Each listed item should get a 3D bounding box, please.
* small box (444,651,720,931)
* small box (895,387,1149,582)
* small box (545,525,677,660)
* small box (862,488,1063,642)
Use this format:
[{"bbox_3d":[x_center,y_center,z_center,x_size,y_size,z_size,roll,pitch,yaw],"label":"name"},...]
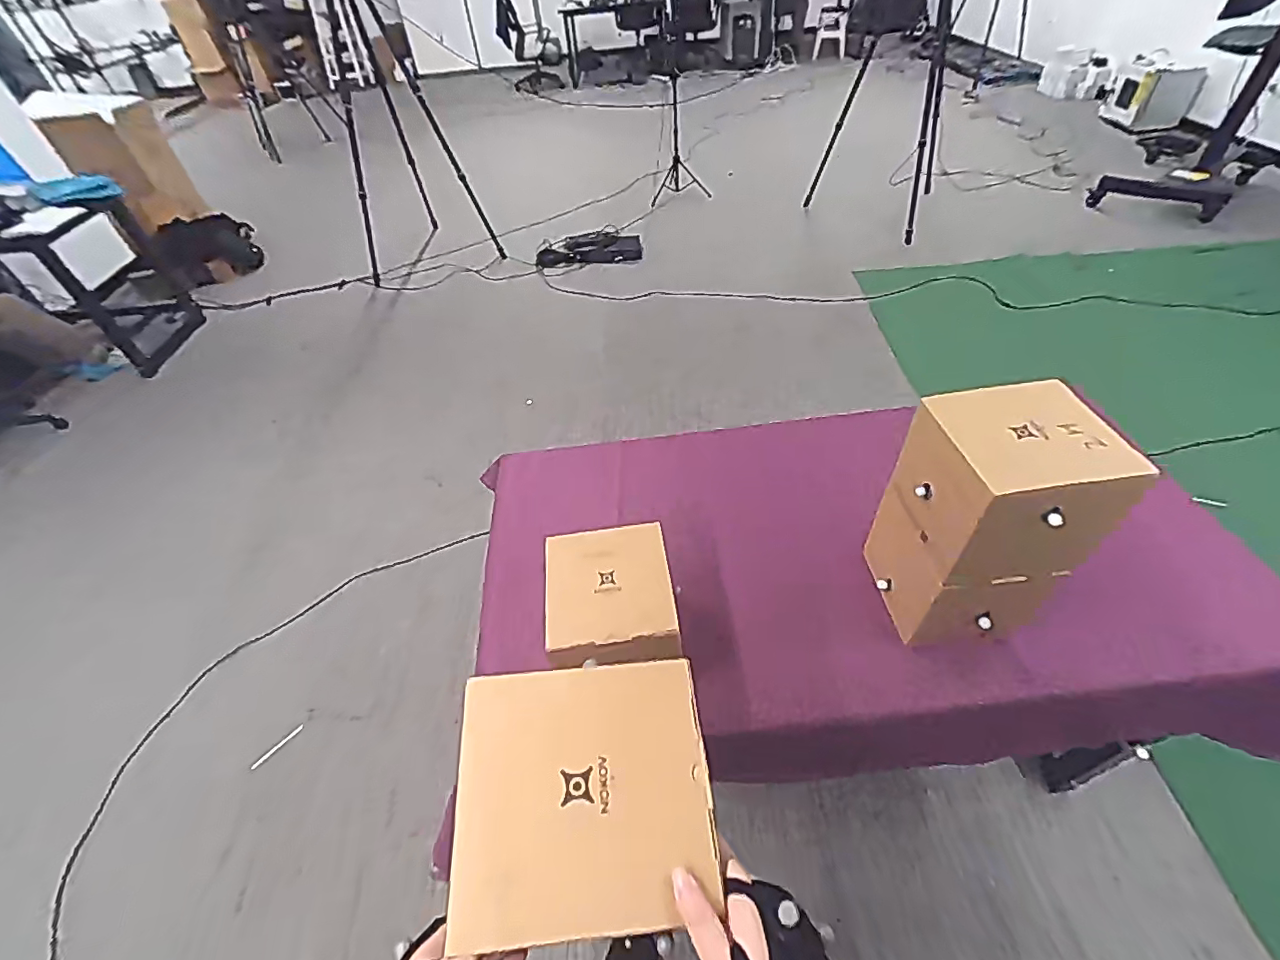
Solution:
[{"bbox_3d":[-0.044,0.255,0.446,0.179,0.176,0.168,-3,54,-6],"label":"small box"},{"bbox_3d":[0.438,0.010,0.665,0.179,0.176,0.168,-7,47,-1],"label":"small box"},{"bbox_3d":[-0.038,0.190,0.769,0.168,0.176,0.179,-7,46,-2],"label":"small box"},{"bbox_3d":[0.447,0.122,0.786,0.168,0.176,0.179,-6,47,-1],"label":"small box"}]
